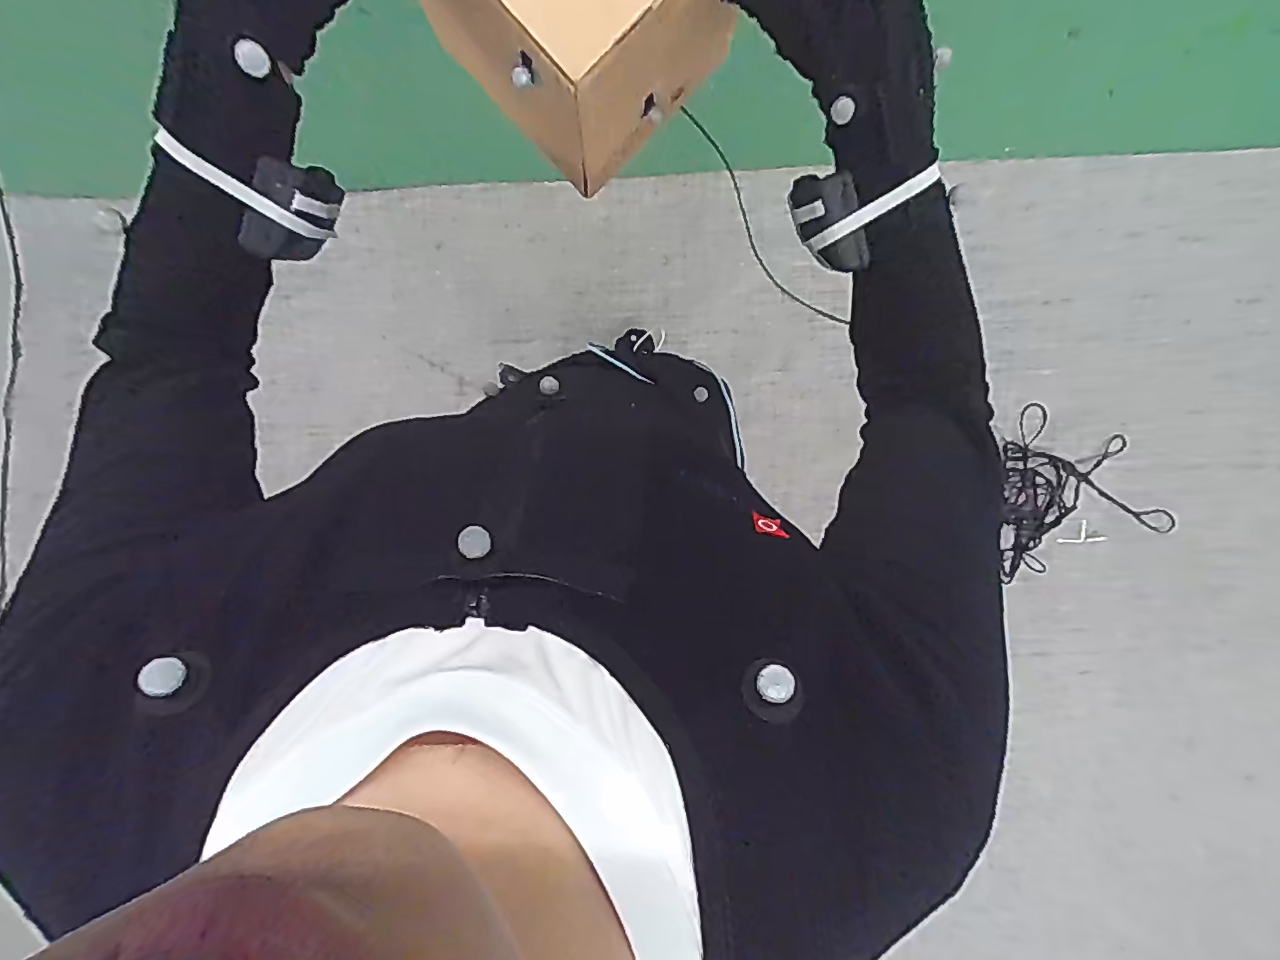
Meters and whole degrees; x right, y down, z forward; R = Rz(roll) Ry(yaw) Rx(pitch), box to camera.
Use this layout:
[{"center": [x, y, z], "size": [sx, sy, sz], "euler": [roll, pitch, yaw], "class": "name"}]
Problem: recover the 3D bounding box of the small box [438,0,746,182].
[{"center": [-0.038, -0.352, 0.371], "size": [0.168, 0.176, 0.179], "euler": [-44, 99, 3], "class": "small box"}]
